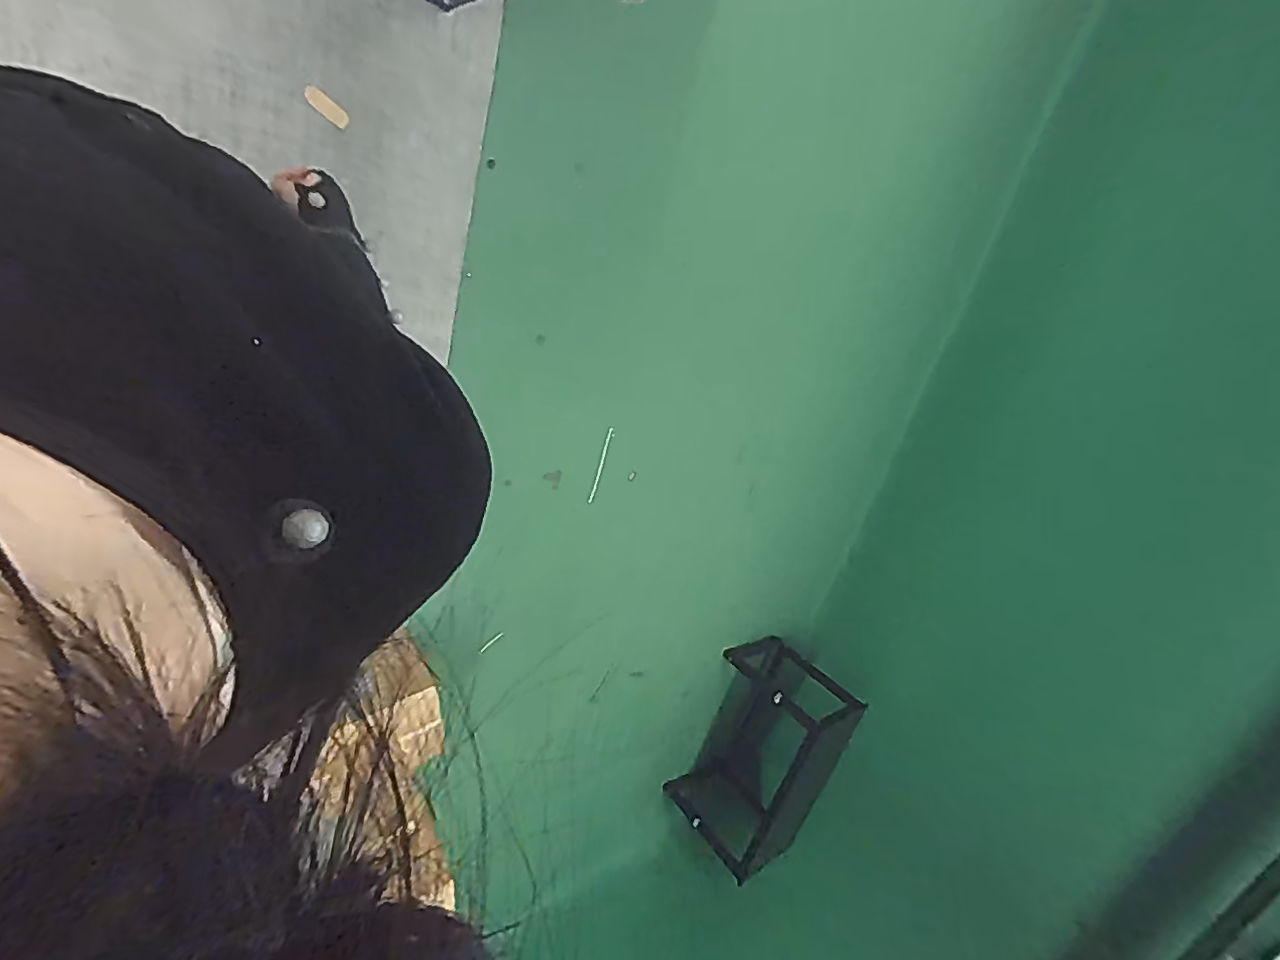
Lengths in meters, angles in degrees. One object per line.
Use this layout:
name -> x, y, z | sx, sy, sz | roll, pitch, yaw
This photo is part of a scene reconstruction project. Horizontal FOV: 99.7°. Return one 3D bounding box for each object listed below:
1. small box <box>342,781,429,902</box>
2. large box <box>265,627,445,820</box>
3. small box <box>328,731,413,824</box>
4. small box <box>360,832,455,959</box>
small box -> -0.657, 0.915, 1.394 | 0.168, 0.176, 0.179 | -11, 121, -38
large box -> -0.877, 0.732, 1.687 | 0.408, 0.320, 0.320 | -18, 127, -36
small box -> -0.748, 0.842, 1.508 | 0.179, 0.176, 0.168 | -13, 122, -37
small box -> -0.553, 0.985, 1.287 | 0.168, 0.176, 0.179 | -12, 121, -37
